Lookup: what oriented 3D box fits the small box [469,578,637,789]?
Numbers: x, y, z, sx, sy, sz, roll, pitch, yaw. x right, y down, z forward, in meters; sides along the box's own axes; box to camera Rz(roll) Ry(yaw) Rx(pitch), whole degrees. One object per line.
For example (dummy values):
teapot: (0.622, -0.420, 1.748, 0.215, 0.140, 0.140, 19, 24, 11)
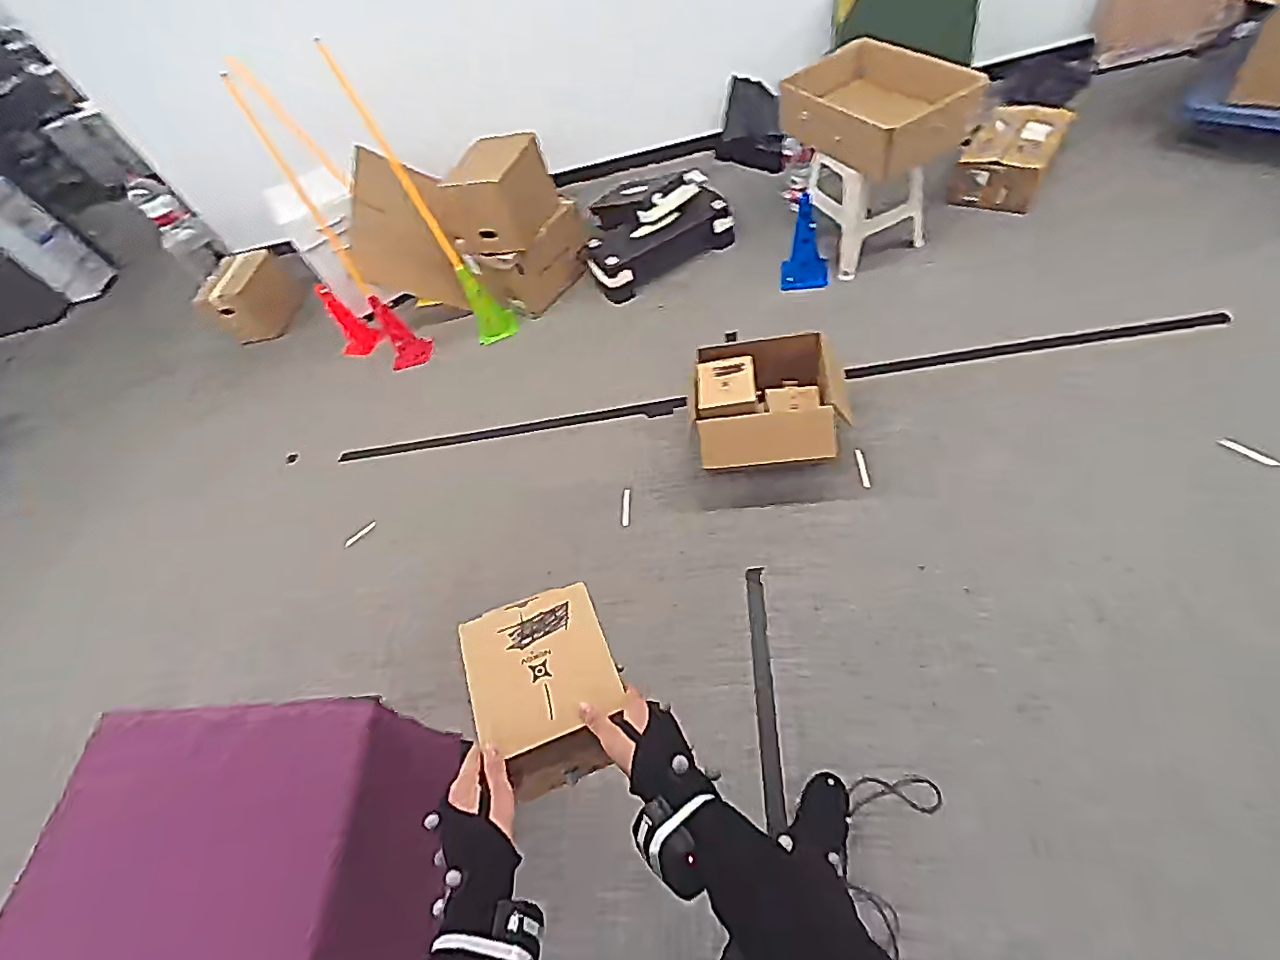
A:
small box: (-0.109, 0.262, 0.699, 0.168, 0.176, 0.179, -17, 49, -12)
